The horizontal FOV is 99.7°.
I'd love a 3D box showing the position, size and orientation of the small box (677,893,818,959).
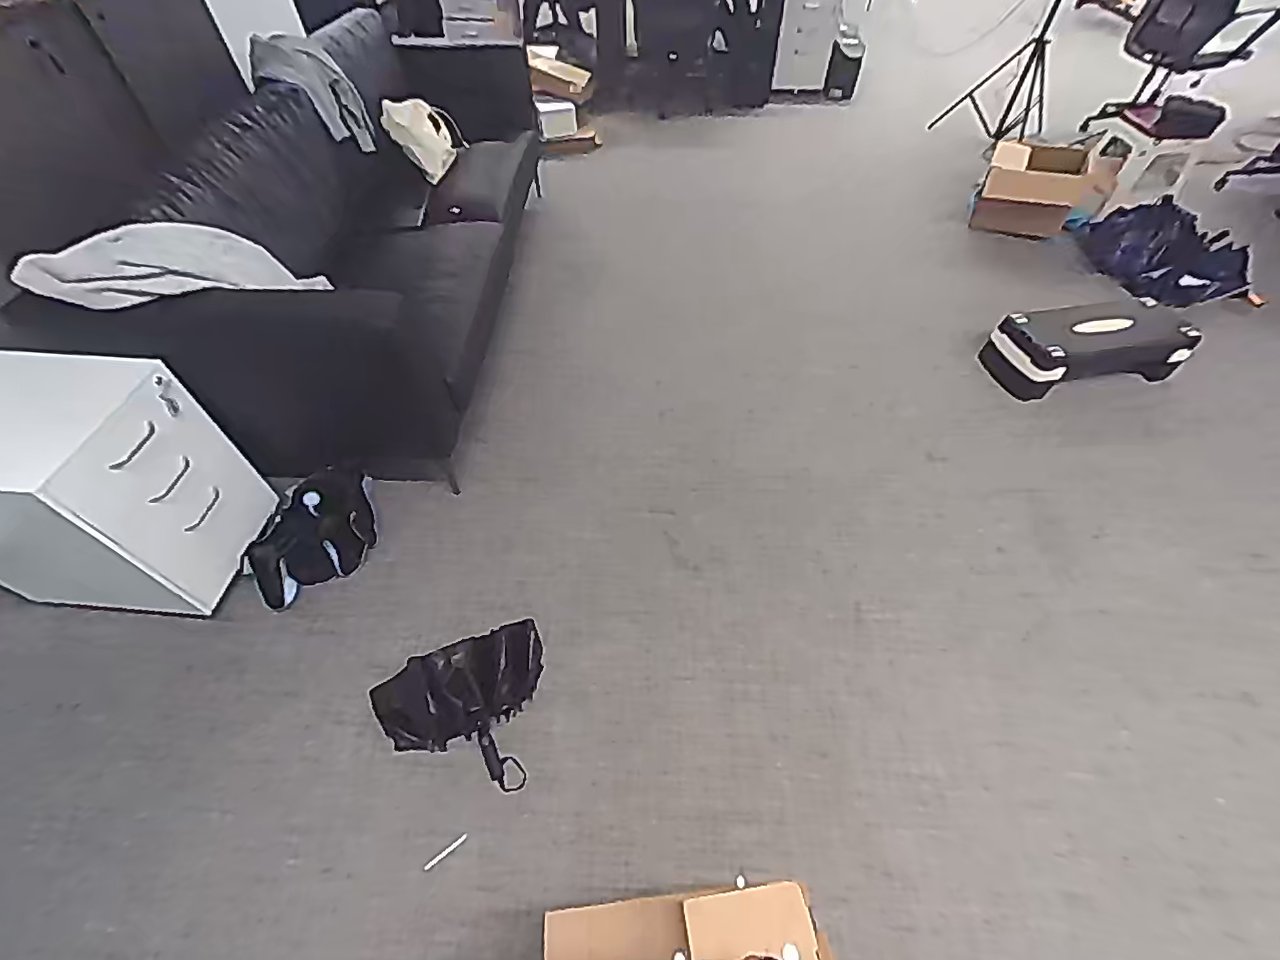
[{"bbox_3d":[0.152,0.699,0.761,0.179,0.176,0.168,-7,49,-3],"label":"small box"}]
